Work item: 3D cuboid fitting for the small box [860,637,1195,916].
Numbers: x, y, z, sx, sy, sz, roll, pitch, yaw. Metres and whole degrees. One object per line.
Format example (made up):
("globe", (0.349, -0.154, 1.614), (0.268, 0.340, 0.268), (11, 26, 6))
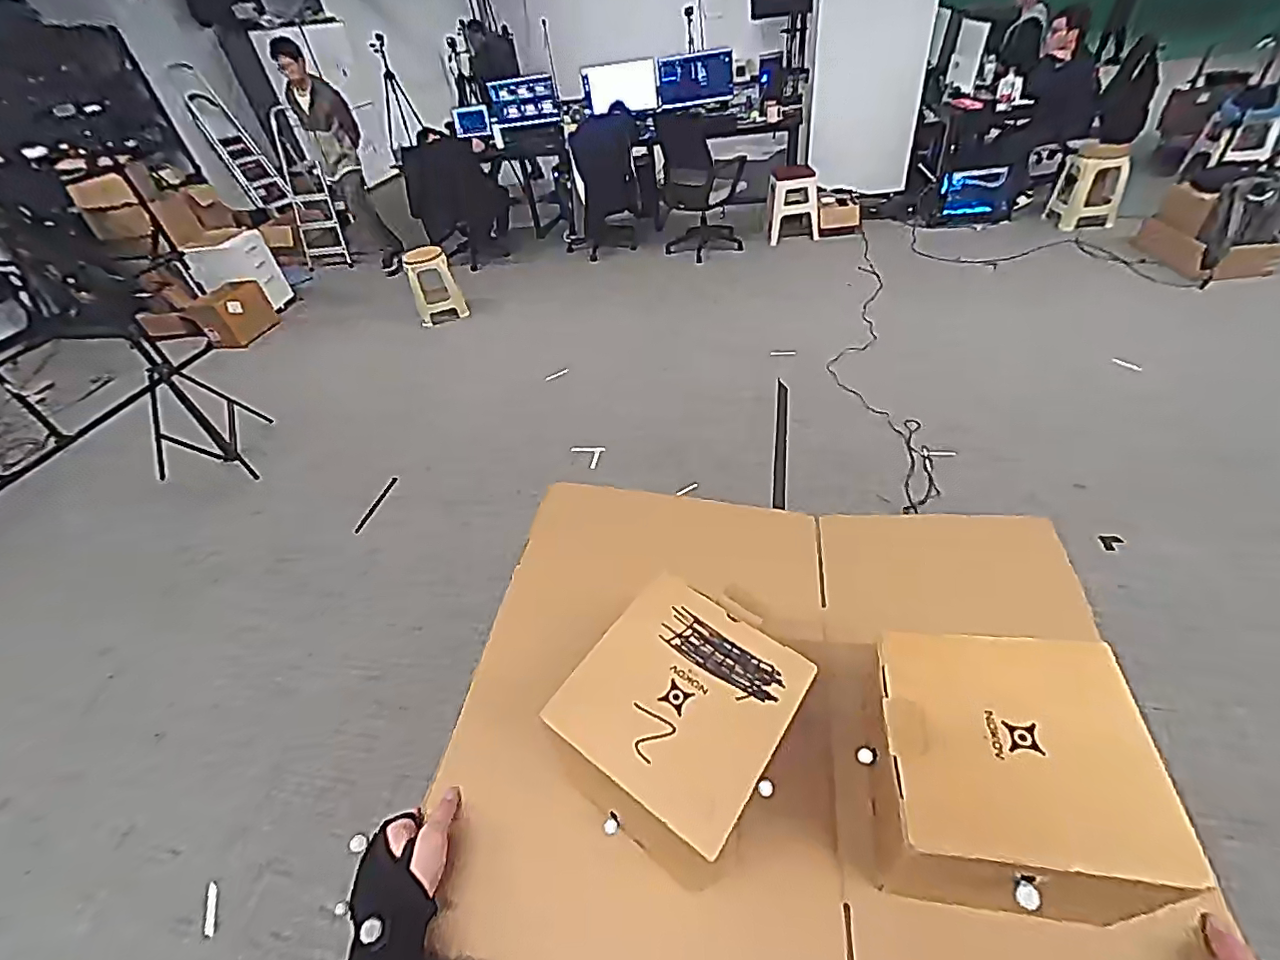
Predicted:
("small box", (0.299, 0.257, 0.472), (0.179, 0.176, 0.168), (-2, 45, 15))
